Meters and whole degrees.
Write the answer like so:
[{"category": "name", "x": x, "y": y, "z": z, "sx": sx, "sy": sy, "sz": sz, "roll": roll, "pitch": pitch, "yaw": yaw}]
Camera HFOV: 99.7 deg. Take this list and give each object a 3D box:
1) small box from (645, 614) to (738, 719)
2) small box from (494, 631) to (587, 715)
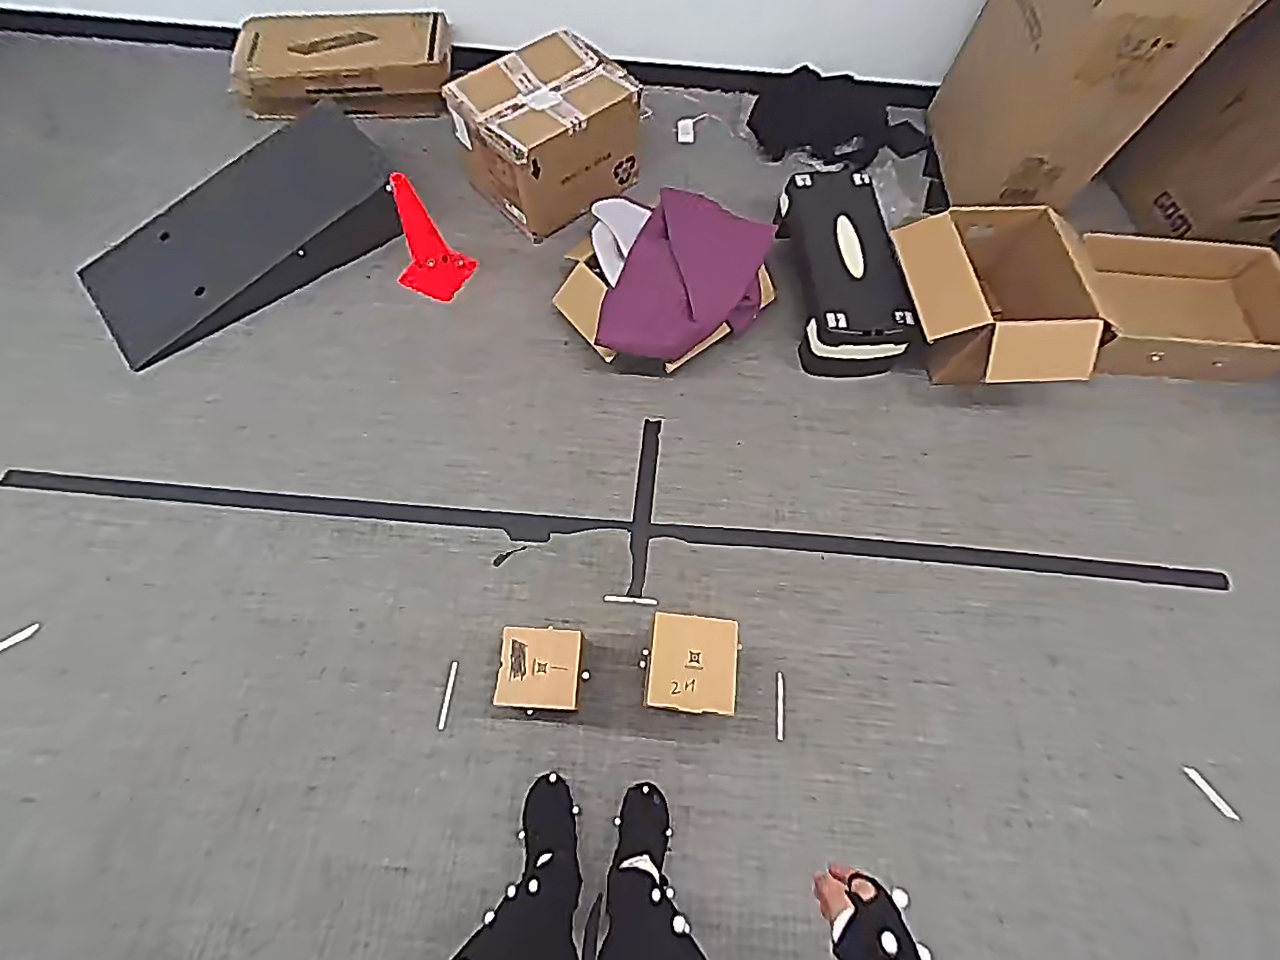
[{"category": "small box", "x": 0.100, "y": 0.385, "z": 1.107, "sx": 0.168, "sy": 0.176, "sz": 0.179, "roll": 6, "pitch": 67, "yaw": 1}, {"category": "small box", "x": -0.221, "y": 0.449, "z": 1.249, "sx": 0.179, "sy": 0.176, "sz": 0.168, "roll": 3, "pitch": 67, "yaw": -1}]
